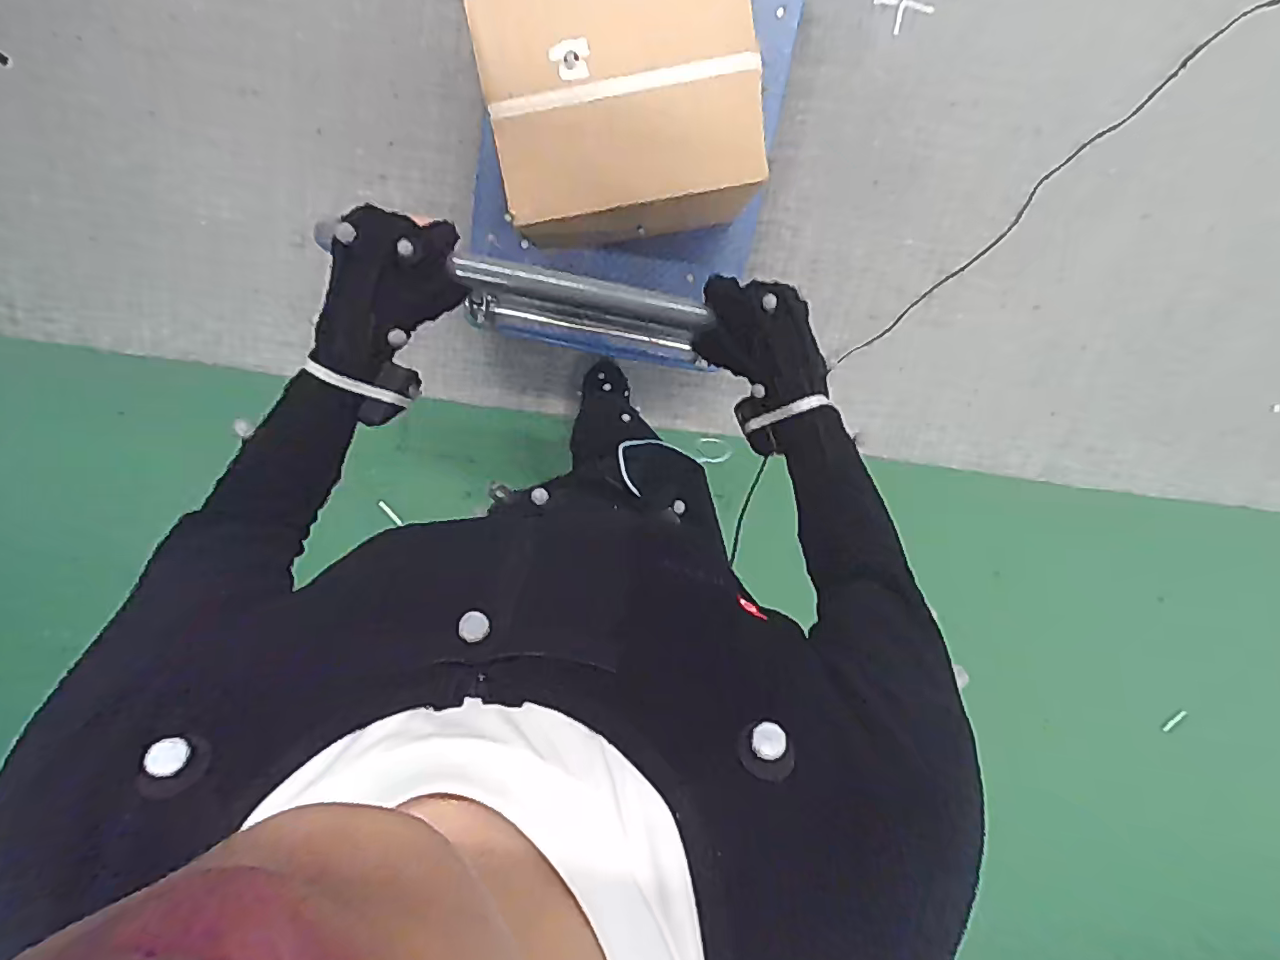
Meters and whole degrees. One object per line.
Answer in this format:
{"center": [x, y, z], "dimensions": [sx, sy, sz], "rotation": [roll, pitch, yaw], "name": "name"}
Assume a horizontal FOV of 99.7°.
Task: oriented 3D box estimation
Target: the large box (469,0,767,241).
{"center": [-0.024, -0.627, 0.935], "dimensions": [0.408, 0.320, 0.320], "rotation": [-9, 105, 2], "name": "large box"}
